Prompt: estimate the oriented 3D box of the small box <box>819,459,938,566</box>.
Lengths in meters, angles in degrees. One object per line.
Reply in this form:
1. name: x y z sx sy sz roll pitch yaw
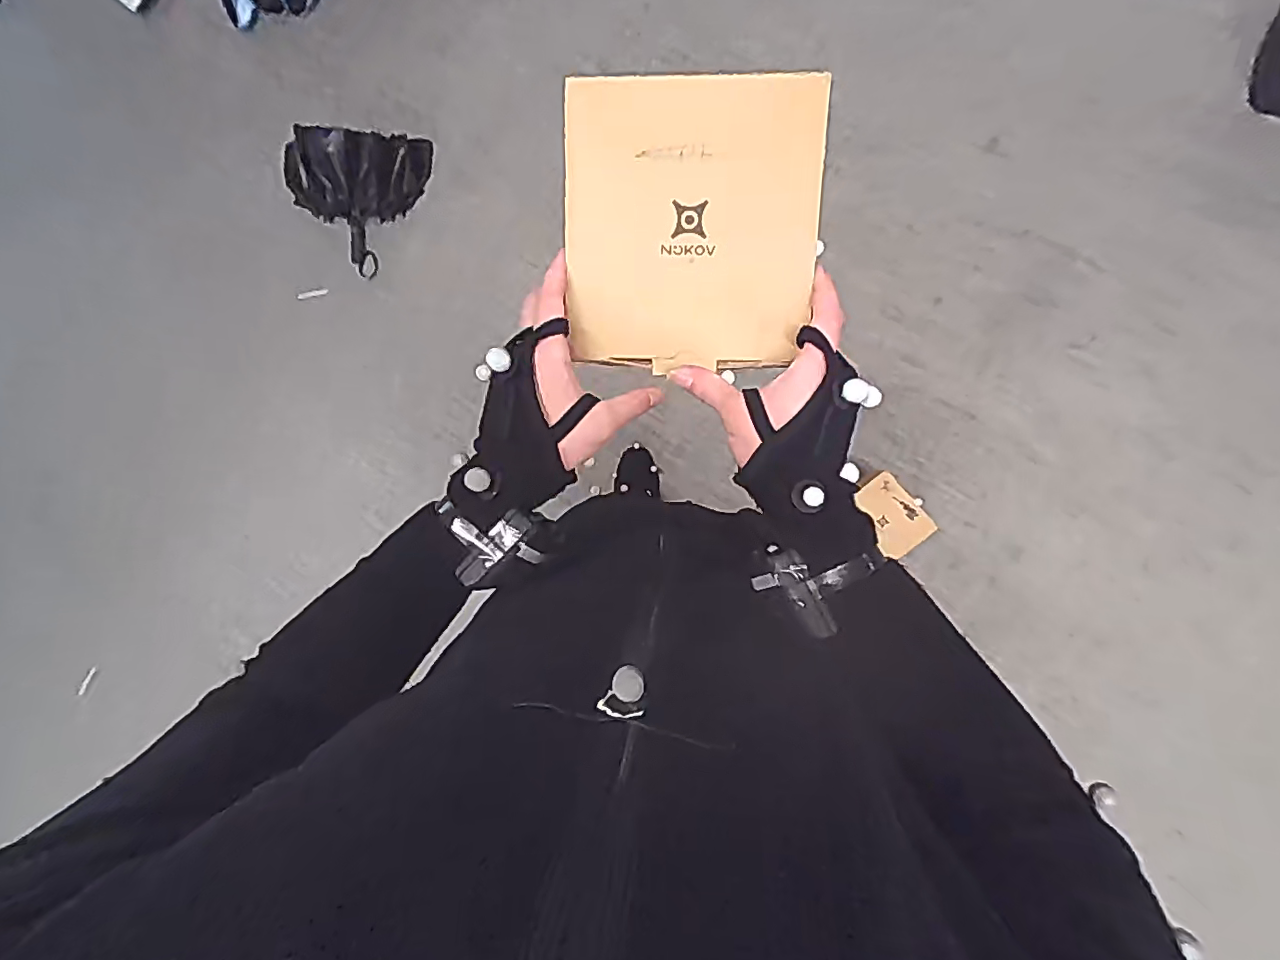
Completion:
1. small box: 0.527 0.070 1.230 0.179 0.176 0.168 -41 83 8
